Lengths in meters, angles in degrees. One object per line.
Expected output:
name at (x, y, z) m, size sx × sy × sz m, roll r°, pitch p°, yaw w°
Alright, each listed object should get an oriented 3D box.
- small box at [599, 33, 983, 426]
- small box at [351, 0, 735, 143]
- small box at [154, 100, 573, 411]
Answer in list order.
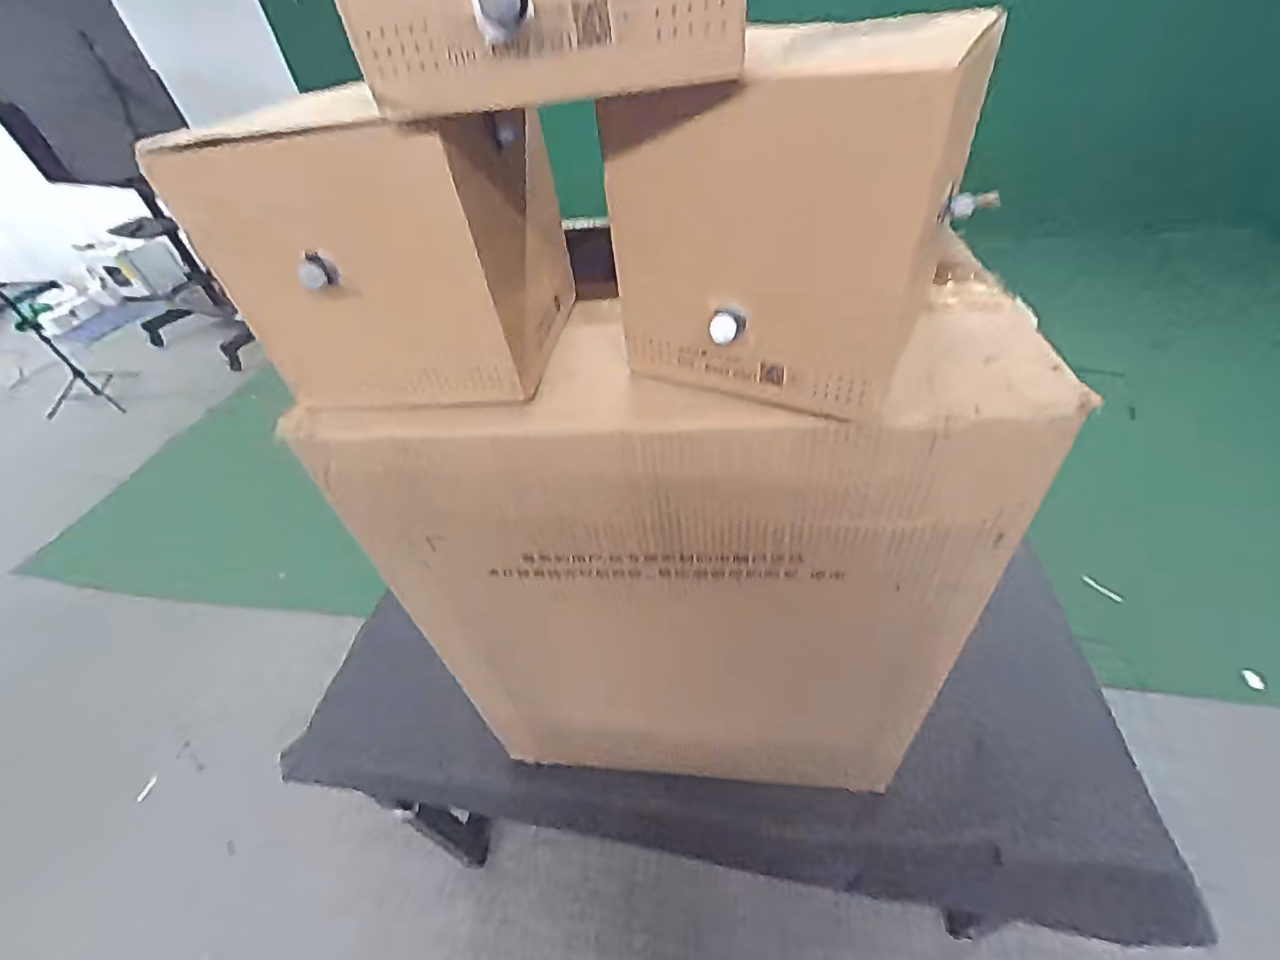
small box at (0.092, -0.163, 0.347) m, size 0.168 × 0.176 × 0.179 m, roll 18°, pitch 49°, yaw 25°
small box at (-0.043, -0.277, 0.253) m, size 0.168 × 0.176 × 0.179 m, roll -3°, pitch 44°, yaw 8°
small box at (-0.164, -0.162, 0.391) m, size 0.179 × 0.176 × 0.168 m, roll -1°, pitch 44°, yaw 10°
